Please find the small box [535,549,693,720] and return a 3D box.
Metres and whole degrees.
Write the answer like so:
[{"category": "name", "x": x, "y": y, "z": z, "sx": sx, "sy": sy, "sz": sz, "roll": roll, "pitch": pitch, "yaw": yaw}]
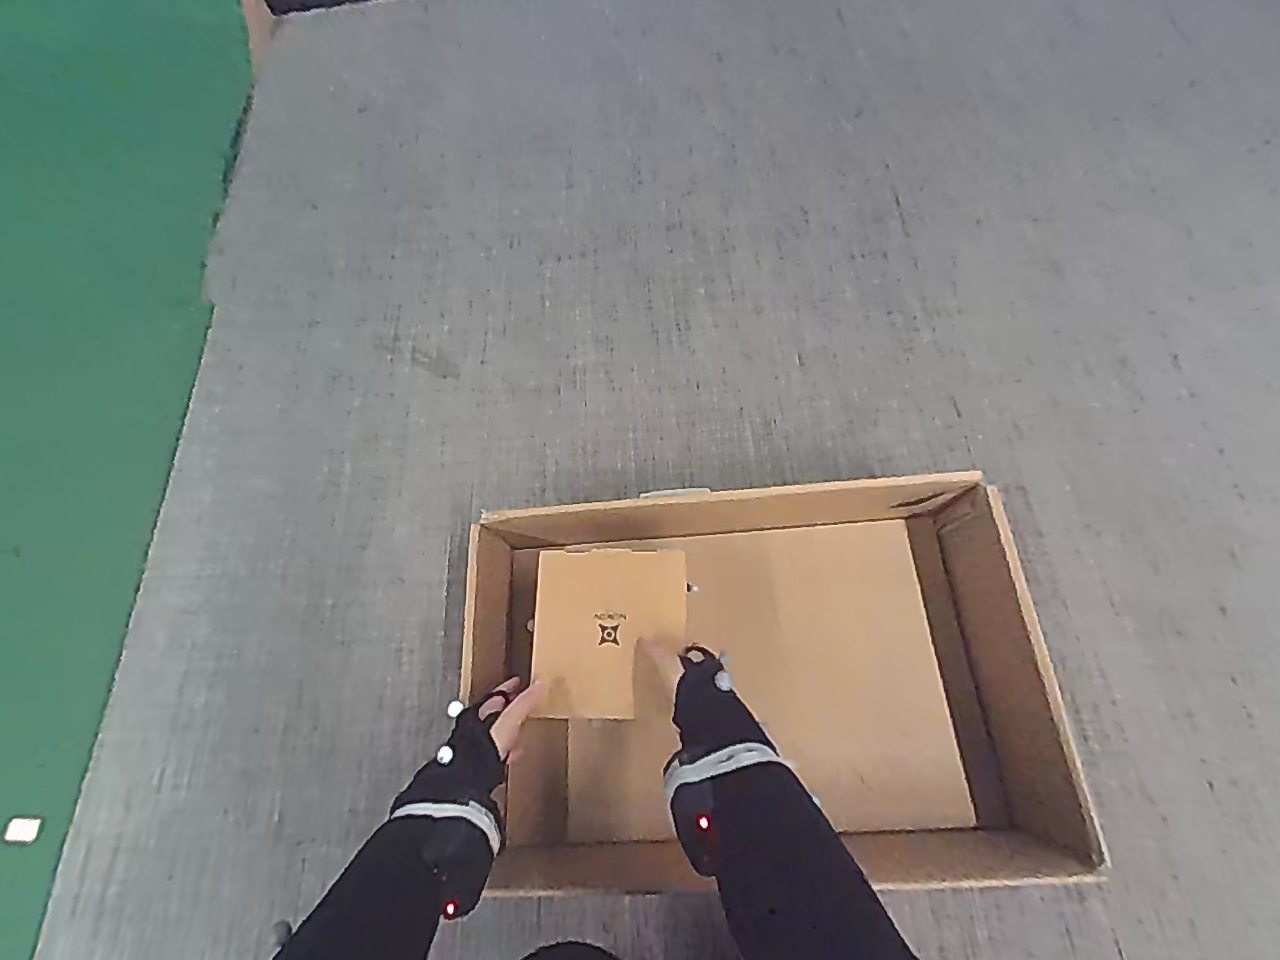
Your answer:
[{"category": "small box", "x": -0.021, "y": 0.185, "z": 0.652, "sx": 0.168, "sy": 0.176, "sz": 0.179, "roll": -2, "pitch": 71, "yaw": 5}]
